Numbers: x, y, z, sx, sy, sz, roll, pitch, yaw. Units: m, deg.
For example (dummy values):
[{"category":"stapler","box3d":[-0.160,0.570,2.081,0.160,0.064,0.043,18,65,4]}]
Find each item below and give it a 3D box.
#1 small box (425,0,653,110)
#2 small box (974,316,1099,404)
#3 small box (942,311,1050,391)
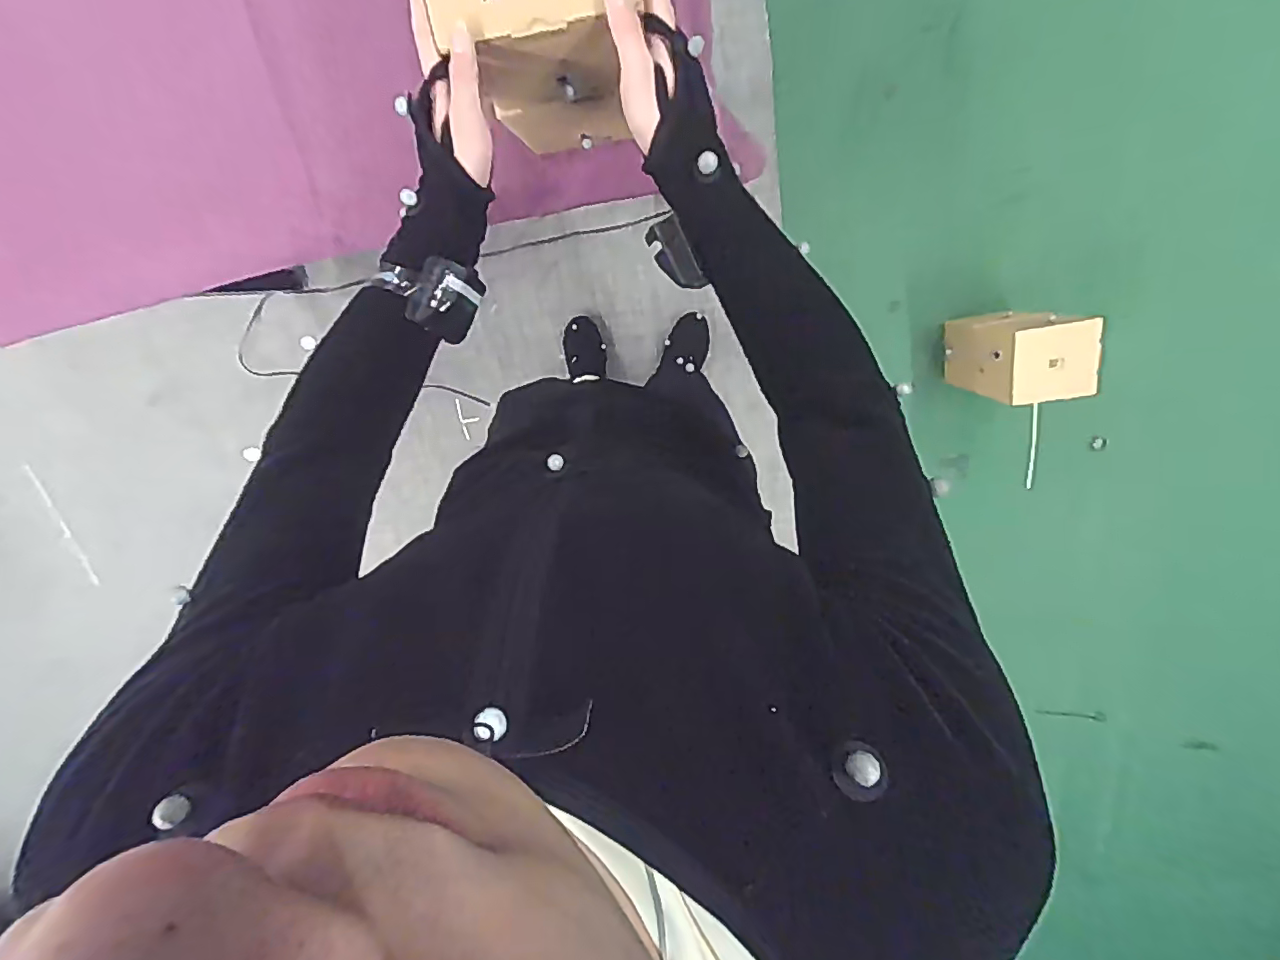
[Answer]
[{"category":"small box","box3d":[-0.082,-0.447,0.453,0.168,0.176,0.179,-6,110,7]},{"category":"small box","box3d":[0.899,-0.279,1.245,0.179,0.176,0.168,-9,108,6]},{"category":"small box","box3d":[0.909,-0.338,1.395,0.179,0.176,0.168,-8,109,8]}]
